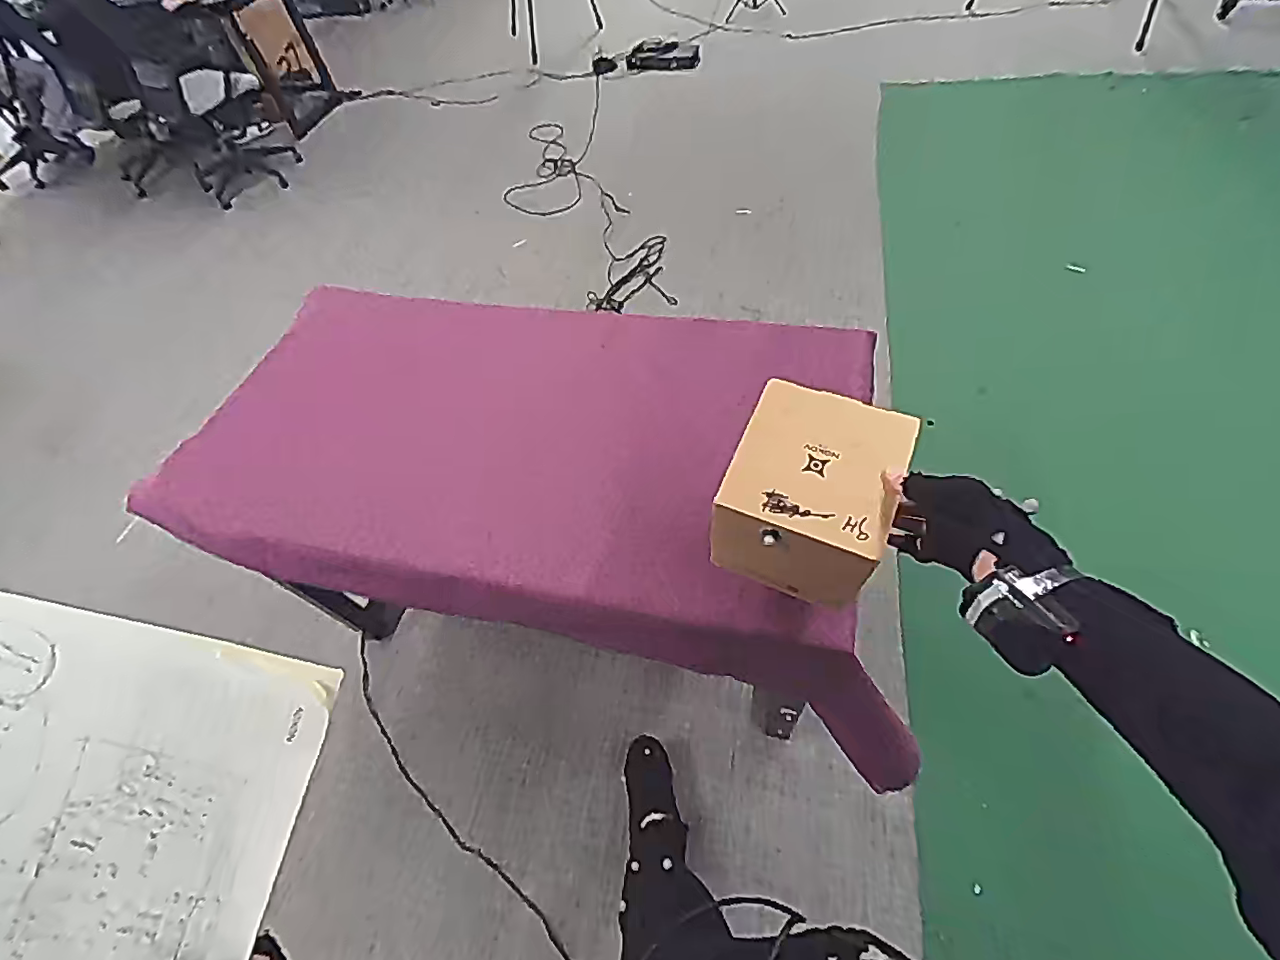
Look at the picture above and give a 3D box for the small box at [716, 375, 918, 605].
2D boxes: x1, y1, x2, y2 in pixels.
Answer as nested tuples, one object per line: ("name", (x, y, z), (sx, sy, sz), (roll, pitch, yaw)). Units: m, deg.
("small box", (0.191, 0.016, 0.623), (0.168, 0.176, 0.179), (21, 64, 17))
